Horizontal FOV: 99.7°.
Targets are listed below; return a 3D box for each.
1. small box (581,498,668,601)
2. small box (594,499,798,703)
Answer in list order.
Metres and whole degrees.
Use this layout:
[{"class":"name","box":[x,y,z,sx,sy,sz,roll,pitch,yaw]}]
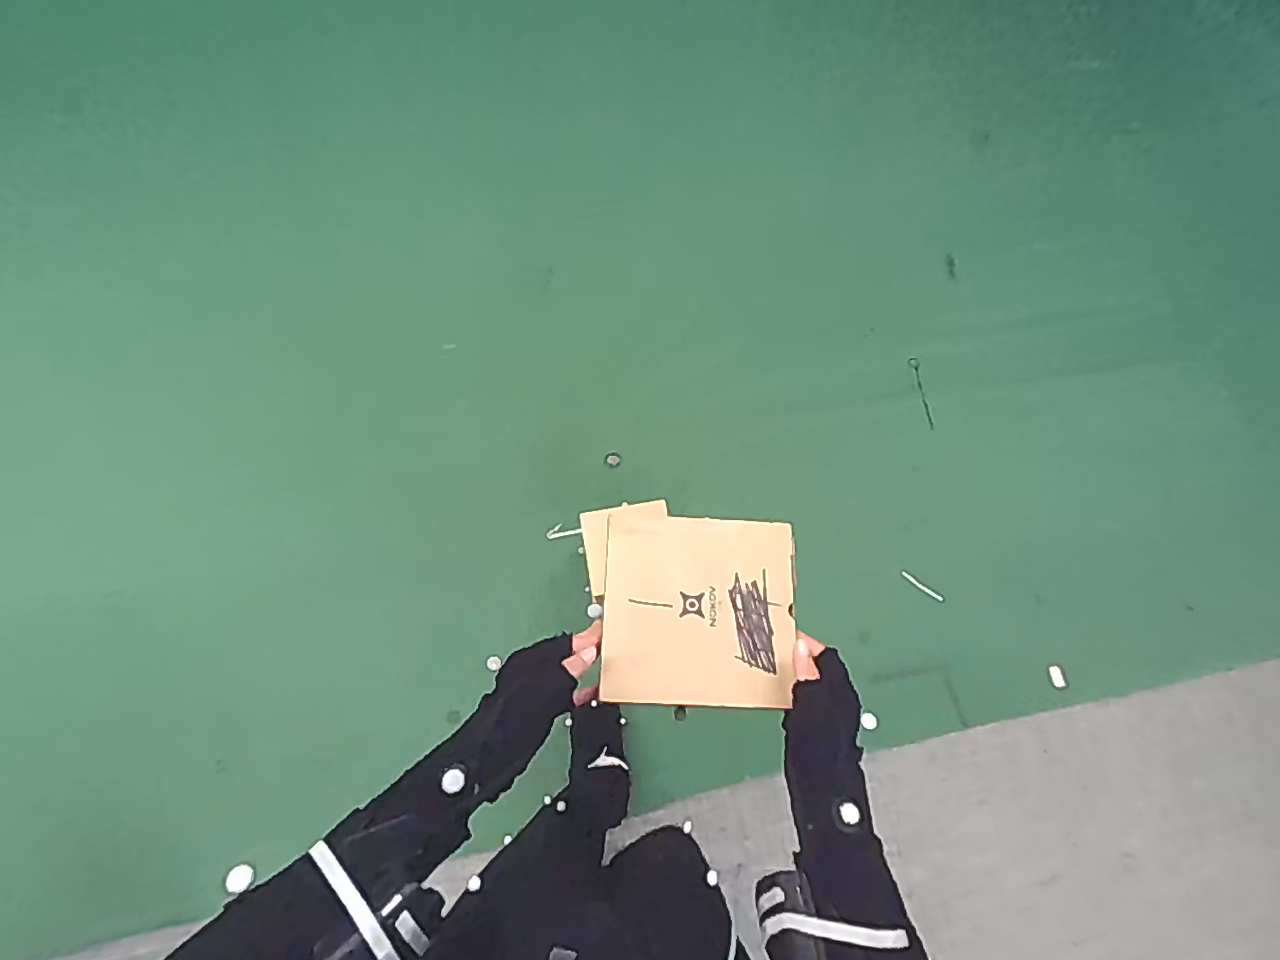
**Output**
[{"class":"small box","box":[-0.020,0.150,1.122,0.179,0.176,0.168,-9,73,-7]},{"class":"small box","box":[0.049,0.131,0.556,0.179,0.176,0.168,6,68,-1]}]
